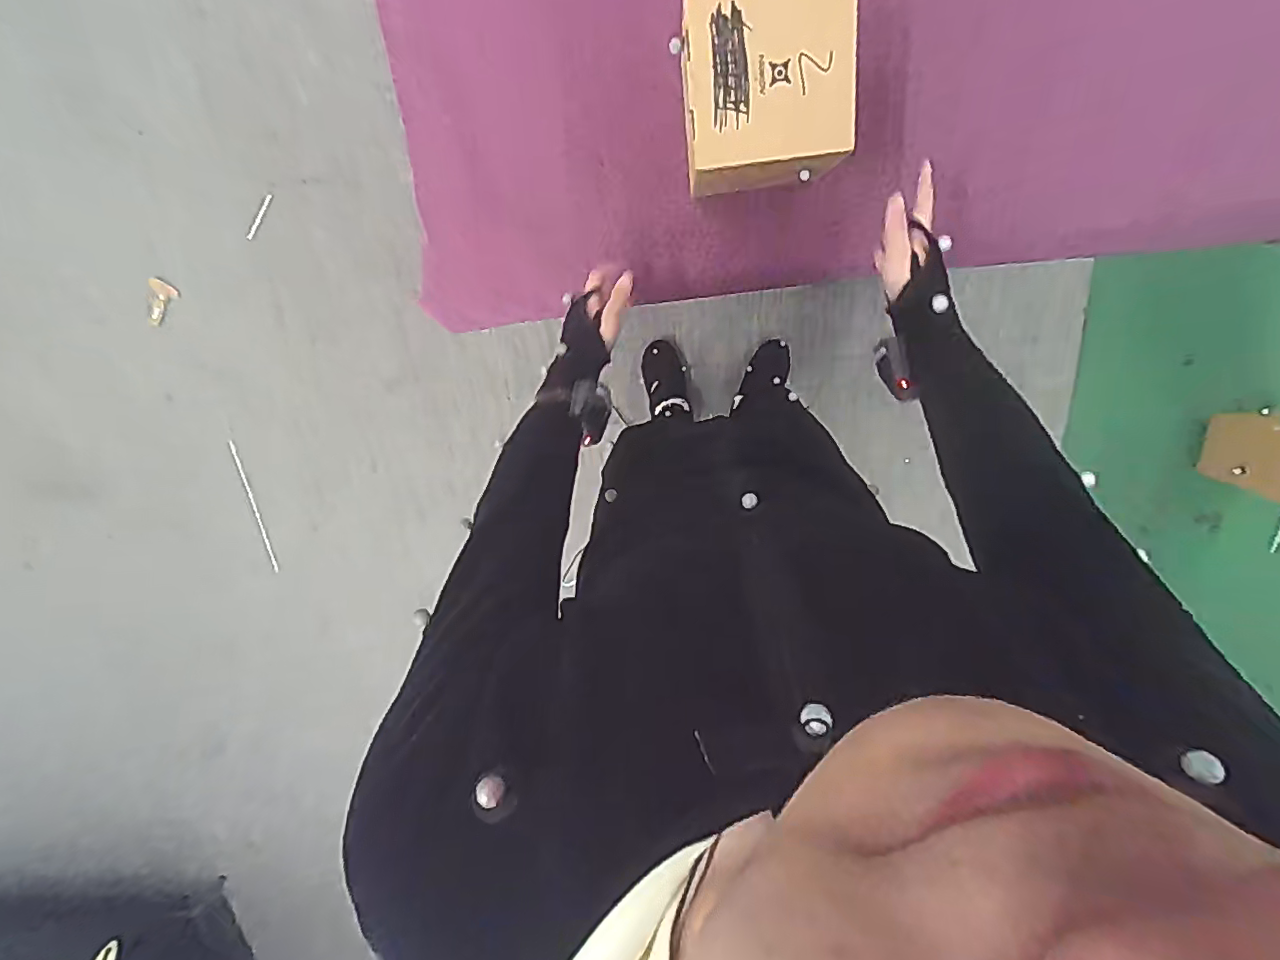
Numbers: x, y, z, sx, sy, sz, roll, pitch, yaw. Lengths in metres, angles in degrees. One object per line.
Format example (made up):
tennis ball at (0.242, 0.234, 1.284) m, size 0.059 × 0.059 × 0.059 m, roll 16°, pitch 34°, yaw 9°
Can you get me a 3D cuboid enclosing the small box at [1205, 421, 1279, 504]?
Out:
small box at (1.659, -0.049, 1.421) m, size 0.168 × 0.176 × 0.179 m, roll -3°, pitch 108°, yaw 6°
